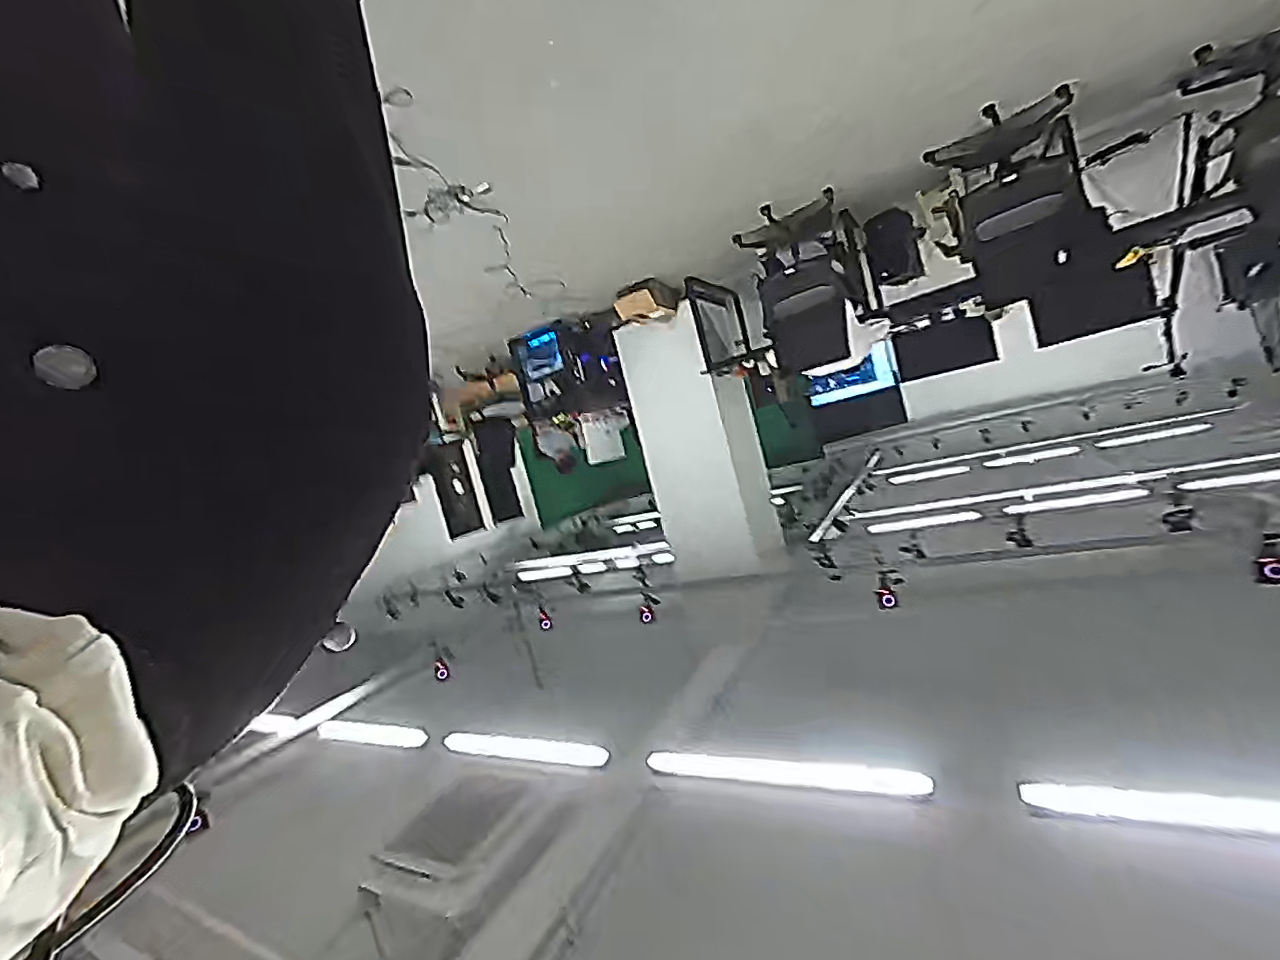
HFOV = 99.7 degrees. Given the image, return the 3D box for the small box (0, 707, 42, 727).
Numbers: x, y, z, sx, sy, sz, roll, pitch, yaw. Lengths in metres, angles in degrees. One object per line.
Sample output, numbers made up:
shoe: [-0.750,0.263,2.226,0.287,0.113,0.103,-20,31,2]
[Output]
small box: [-1.999,0.836,1.709,0.179,0.176,0.168,-12,-175,31]

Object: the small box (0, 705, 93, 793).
small box: [-1.778,0.783,1.593,0.179,0.176,0.168,-11,-174,30]
